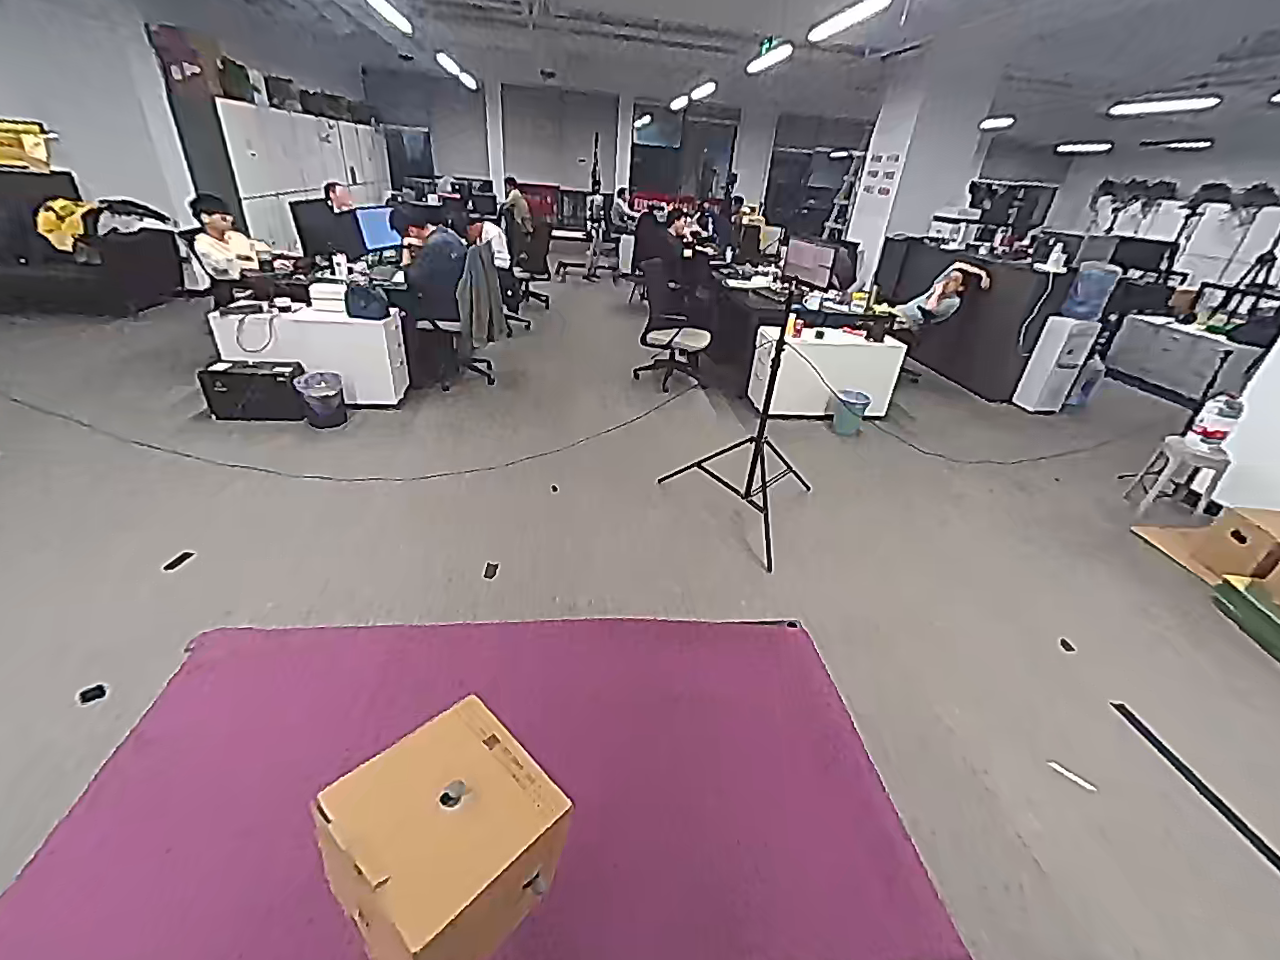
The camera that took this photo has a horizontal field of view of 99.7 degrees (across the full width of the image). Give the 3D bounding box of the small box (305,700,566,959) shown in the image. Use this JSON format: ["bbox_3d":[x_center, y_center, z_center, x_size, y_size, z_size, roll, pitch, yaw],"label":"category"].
[{"bbox_3d":[-0.191,0.356,0.525,0.168,0.179,0.176,33,36,29],"label":"small box"}]
